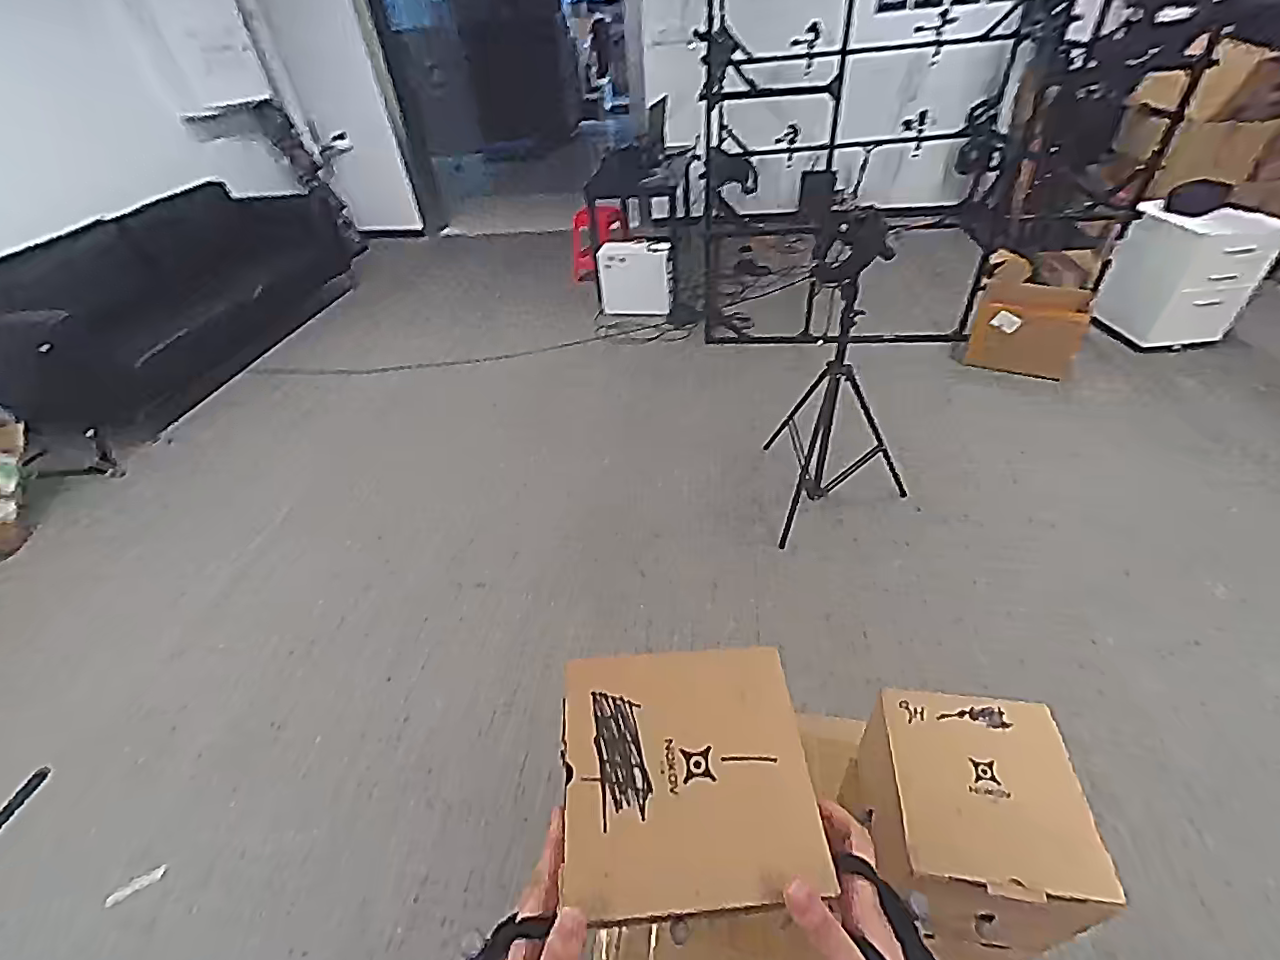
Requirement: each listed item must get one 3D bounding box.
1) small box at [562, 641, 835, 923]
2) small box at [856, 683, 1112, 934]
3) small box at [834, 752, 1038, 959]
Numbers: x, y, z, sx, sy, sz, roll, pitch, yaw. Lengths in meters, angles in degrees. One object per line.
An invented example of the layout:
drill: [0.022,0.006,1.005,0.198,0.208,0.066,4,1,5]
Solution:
small box: [0.030,0.250,0.446,0.179,0.176,0.168,-2,50,-6]
small box: [0.333,0.344,0.570,0.168,0.176,0.179,2,42,12]
small box: [0.344,0.471,0.674,0.168,0.176,0.179,1,41,11]
